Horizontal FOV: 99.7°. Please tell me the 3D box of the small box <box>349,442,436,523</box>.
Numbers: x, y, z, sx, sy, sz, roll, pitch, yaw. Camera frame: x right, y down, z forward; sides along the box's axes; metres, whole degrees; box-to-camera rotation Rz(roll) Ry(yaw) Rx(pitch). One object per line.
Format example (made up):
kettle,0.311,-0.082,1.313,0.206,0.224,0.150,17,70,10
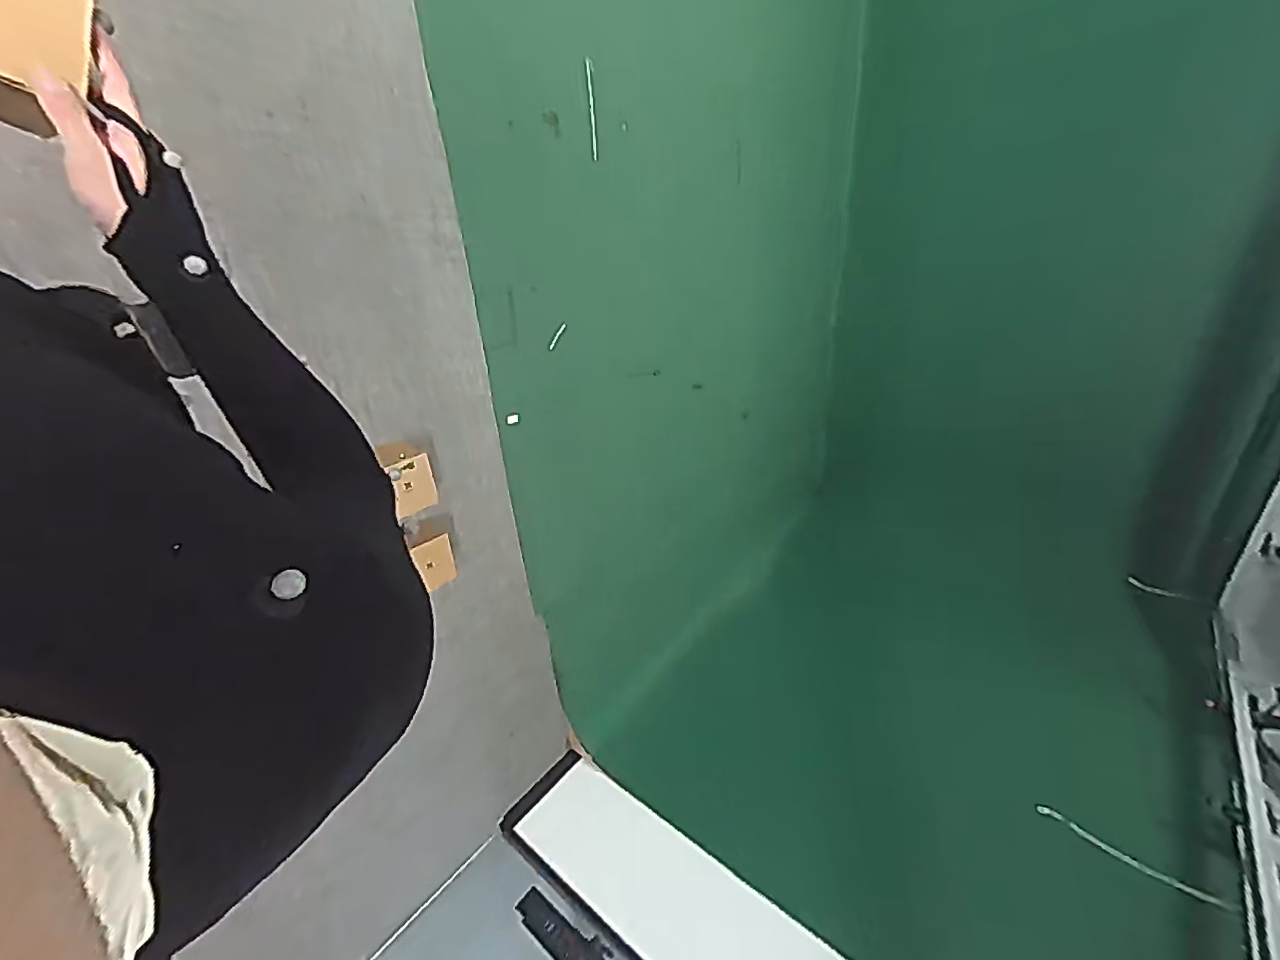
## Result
small box,-0.757,0.001,1.654,0.168,0.176,0.179,-29,127,-42
